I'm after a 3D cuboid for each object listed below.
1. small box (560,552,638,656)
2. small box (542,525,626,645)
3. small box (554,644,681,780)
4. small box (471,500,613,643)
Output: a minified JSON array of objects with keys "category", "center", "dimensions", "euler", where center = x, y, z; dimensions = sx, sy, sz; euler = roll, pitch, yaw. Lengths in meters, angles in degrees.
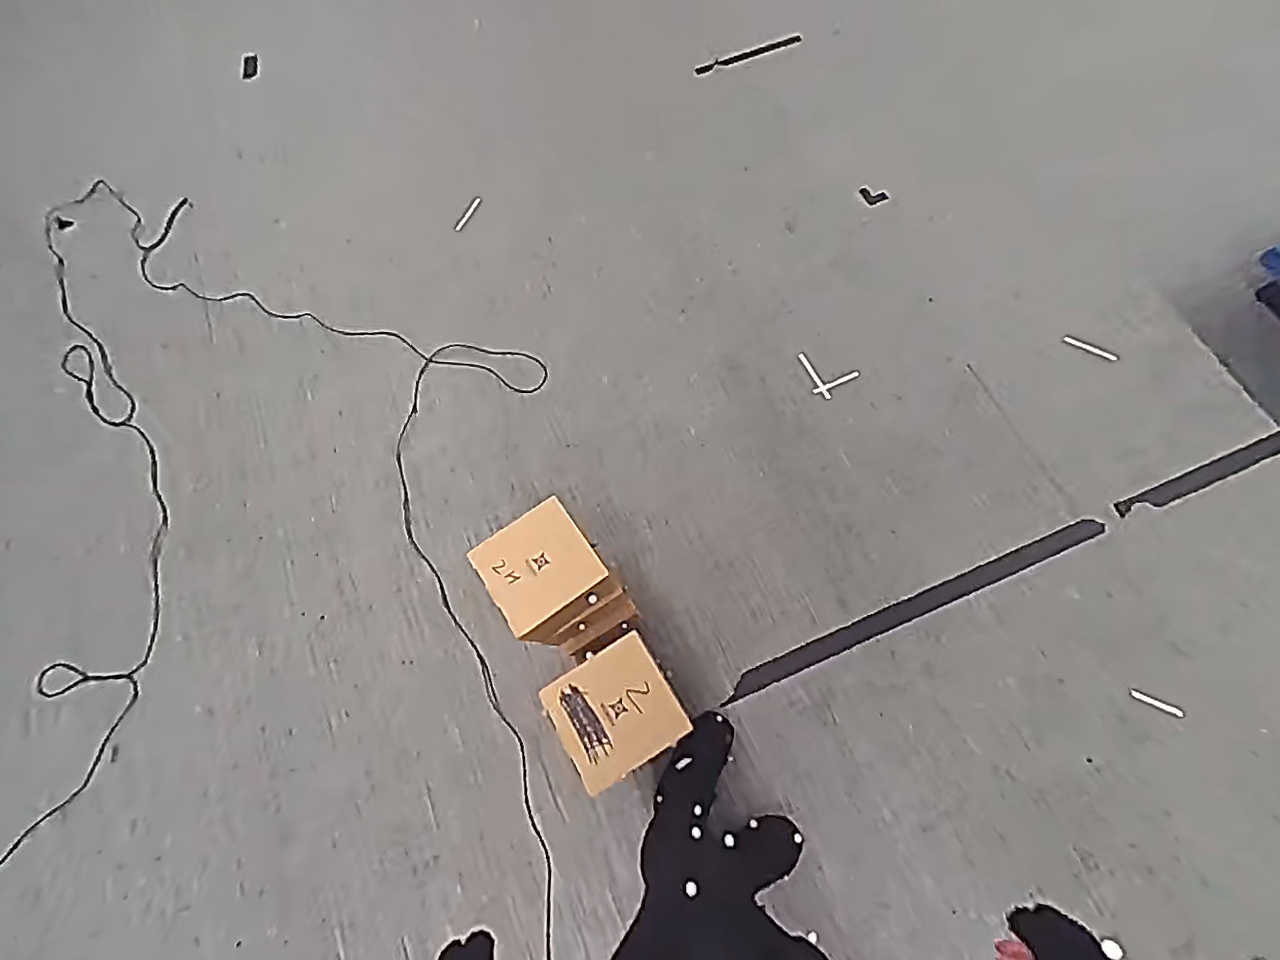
[{"category":"small box","center":[-0.118,0.292,1.246],"dimensions":[0.179,0.176,0.168],"euler":[-32,73,-8]},{"category":"small box","center":[-0.142,0.221,1.097],"dimensions":[0.179,0.176,0.168],"euler":[-31,73,-9]},{"category":"small box","center":[-0.040,0.429,1.025],"dimensions":[0.179,0.176,0.168],"euler":[-29,72,-8]},{"category":"small box","center":[-0.158,0.165,0.943],"dimensions":[0.179,0.176,0.168],"euler":[-34,73,-9]}]
